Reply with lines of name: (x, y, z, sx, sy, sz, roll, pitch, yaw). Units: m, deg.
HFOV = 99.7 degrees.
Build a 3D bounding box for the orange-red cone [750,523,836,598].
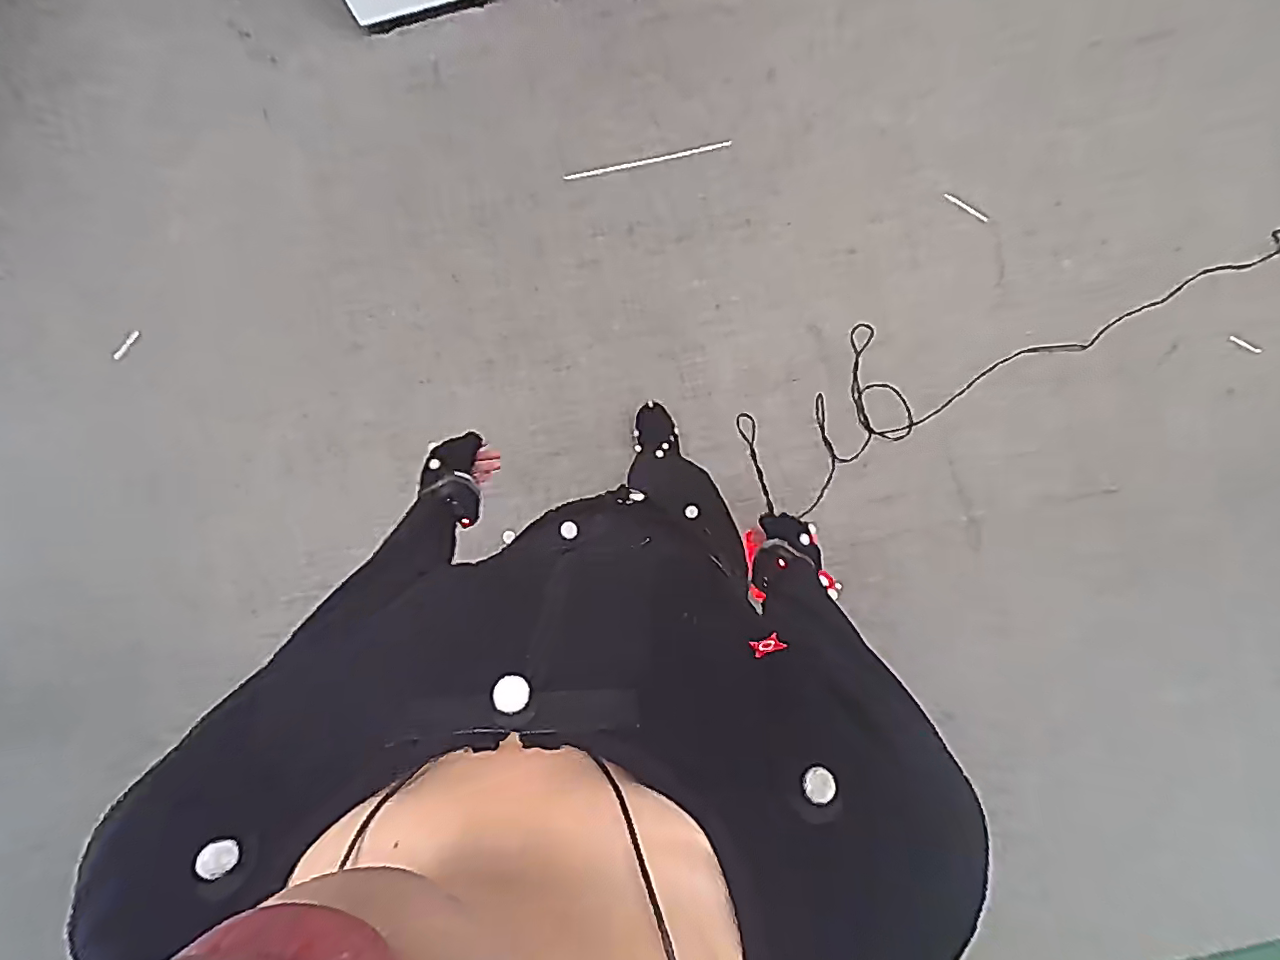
orange-red cone: (0.408, 0.225, 1.337, 0.198, 0.360, 0.199, -7, 91, 1)
